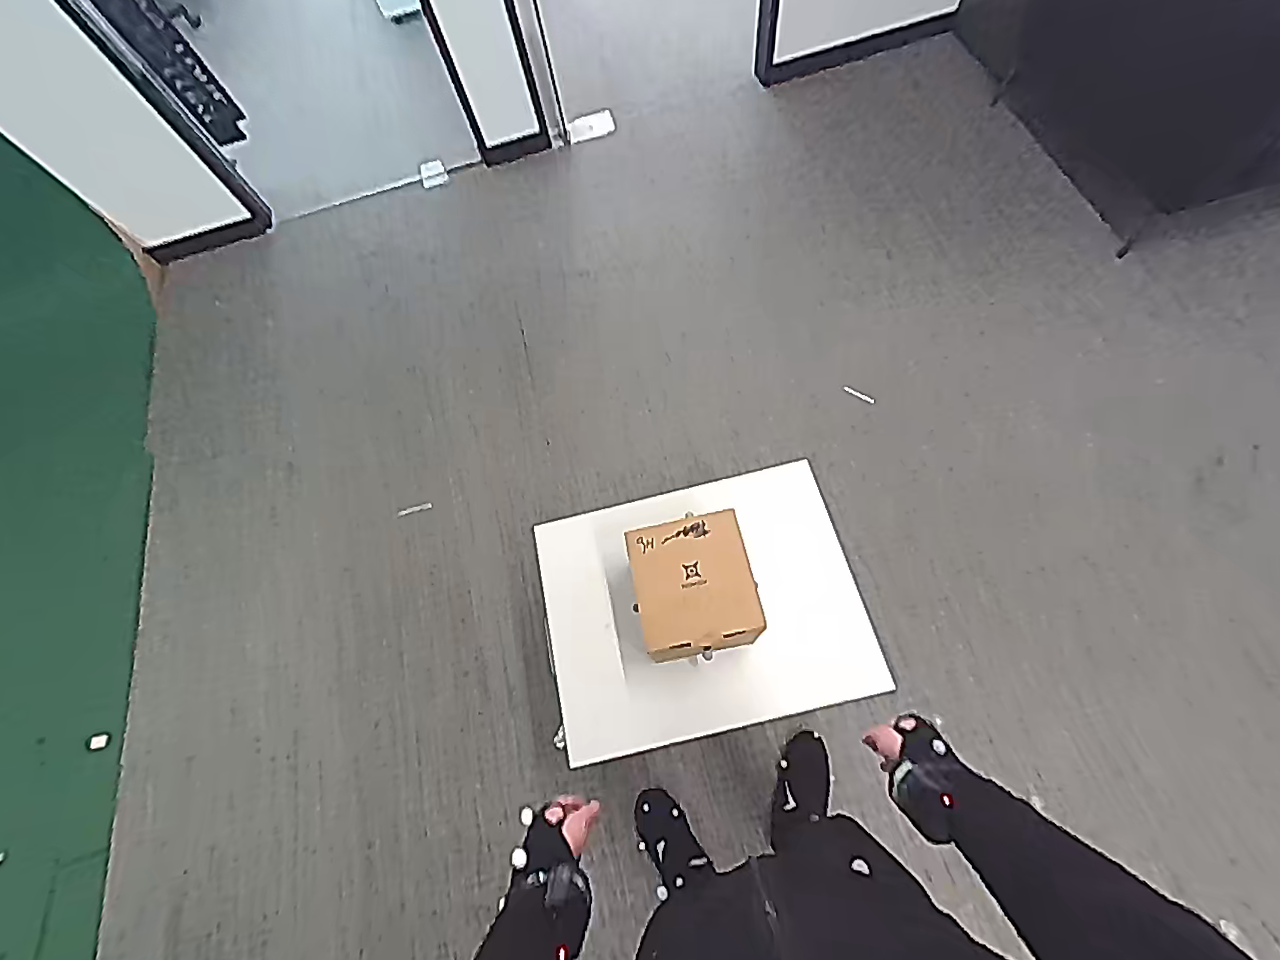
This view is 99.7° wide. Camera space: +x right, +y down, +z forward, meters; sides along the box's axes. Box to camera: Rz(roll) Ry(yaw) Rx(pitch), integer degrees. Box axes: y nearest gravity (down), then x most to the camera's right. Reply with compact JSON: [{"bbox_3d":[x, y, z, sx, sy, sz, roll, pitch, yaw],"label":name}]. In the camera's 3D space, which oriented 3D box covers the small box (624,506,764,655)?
[{"bbox_3d":[0.081,0.163,0.828,0.168,0.176,0.179,-14,66,0],"label":"small box"}]
